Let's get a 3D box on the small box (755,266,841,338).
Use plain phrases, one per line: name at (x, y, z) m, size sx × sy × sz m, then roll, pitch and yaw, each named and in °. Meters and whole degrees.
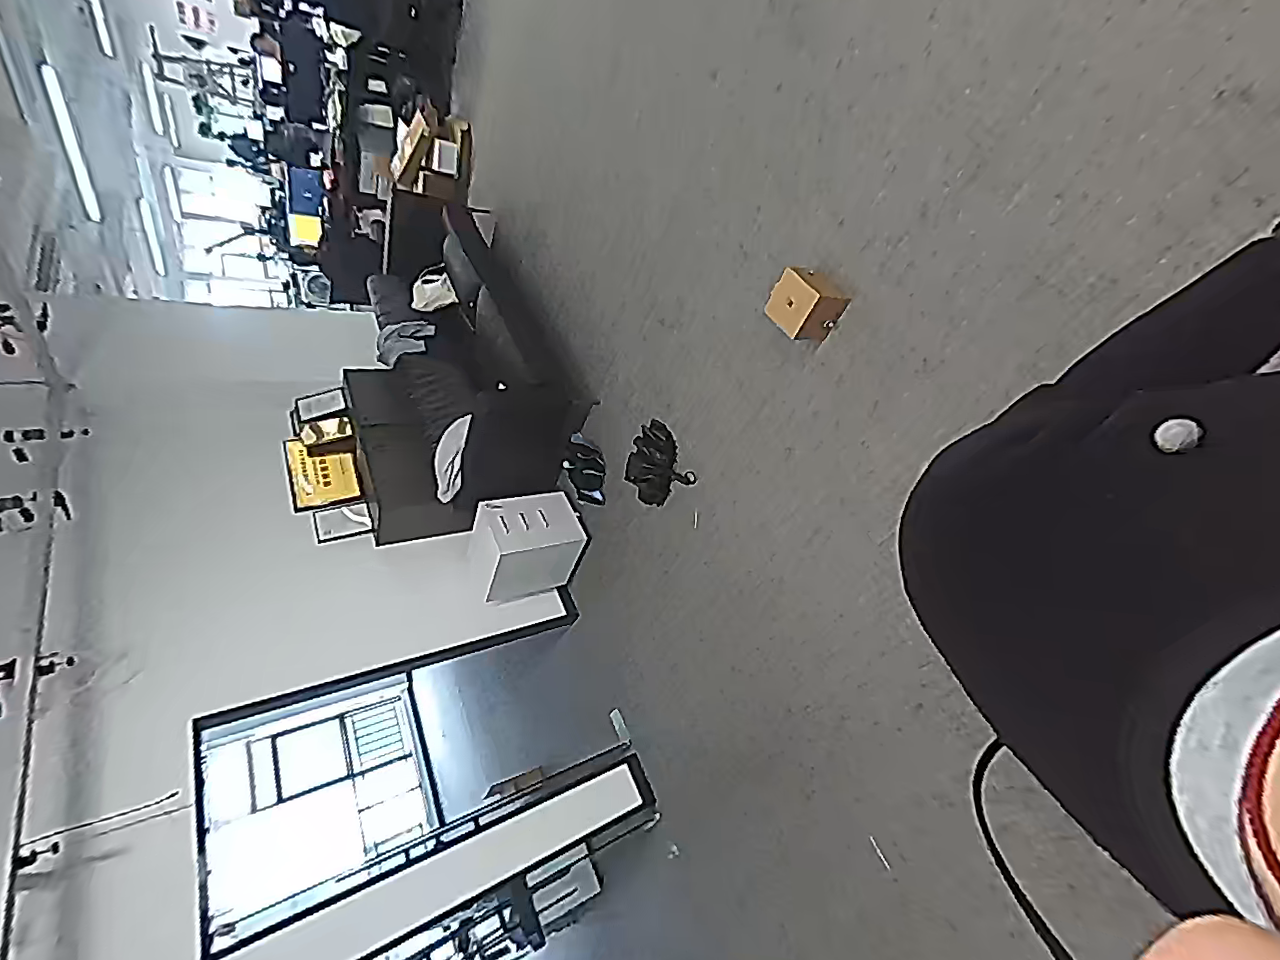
small box at (0.526, -0.589, 1.804) m, size 0.179 × 0.176 × 0.168 m, roll 56°, pitch 139°, yaw 30°
